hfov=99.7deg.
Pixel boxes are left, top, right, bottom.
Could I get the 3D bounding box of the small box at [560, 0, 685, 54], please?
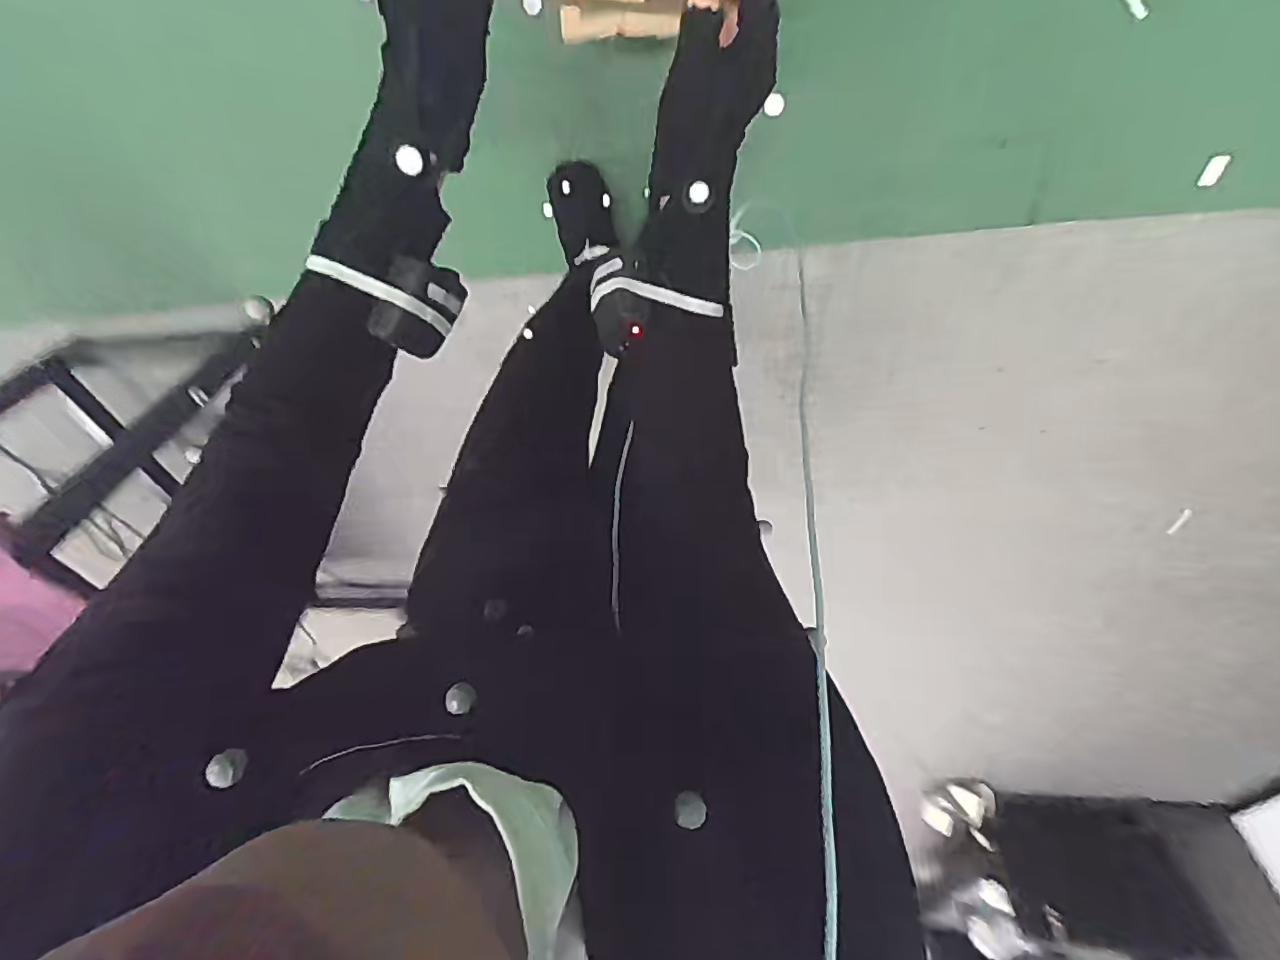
[{"bbox_3d":[-0.024,-0.727,0.754,0.168,0.176,0.179,-1,136,7],"label":"small box"}]
